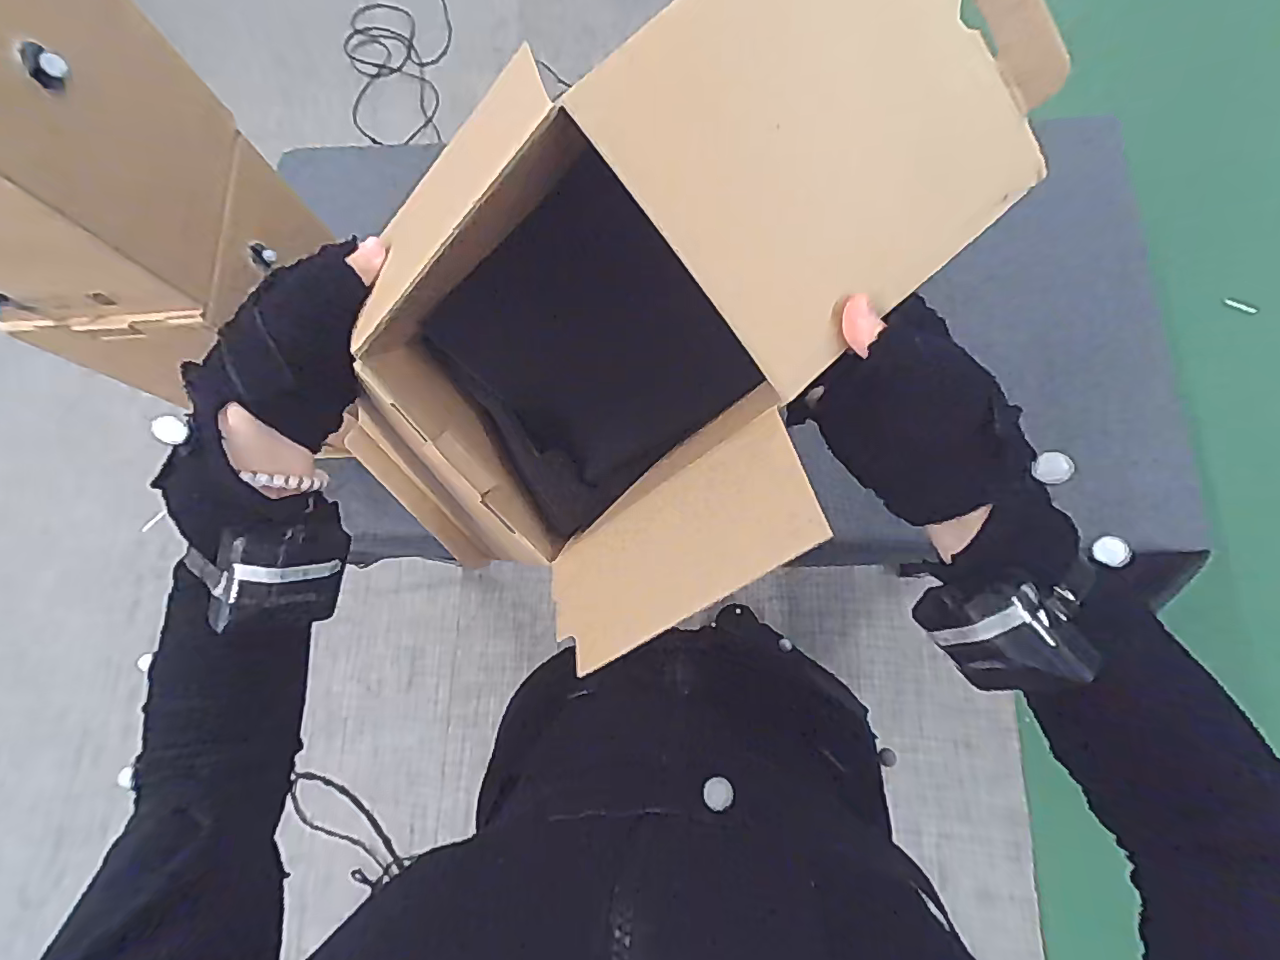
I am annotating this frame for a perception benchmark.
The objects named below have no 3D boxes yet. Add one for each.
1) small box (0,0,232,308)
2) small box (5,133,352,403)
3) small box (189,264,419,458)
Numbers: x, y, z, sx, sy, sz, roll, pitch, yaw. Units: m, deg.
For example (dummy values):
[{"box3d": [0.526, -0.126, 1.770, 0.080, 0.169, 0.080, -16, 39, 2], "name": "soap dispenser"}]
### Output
[{"box3d": [-0.407, -0.225, 0.345, 0.168, 0.176, 0.179, -3, 75, 2], "name": "small box"}, {"box3d": [-0.396, -0.177, 0.502, 0.168, 0.176, 0.179, -2, 75, 3], "name": "small box"}, {"box3d": [-0.387, -0.135, 0.659, 0.168, 0.176, 0.179, -2, 76, 3], "name": "small box"}]
